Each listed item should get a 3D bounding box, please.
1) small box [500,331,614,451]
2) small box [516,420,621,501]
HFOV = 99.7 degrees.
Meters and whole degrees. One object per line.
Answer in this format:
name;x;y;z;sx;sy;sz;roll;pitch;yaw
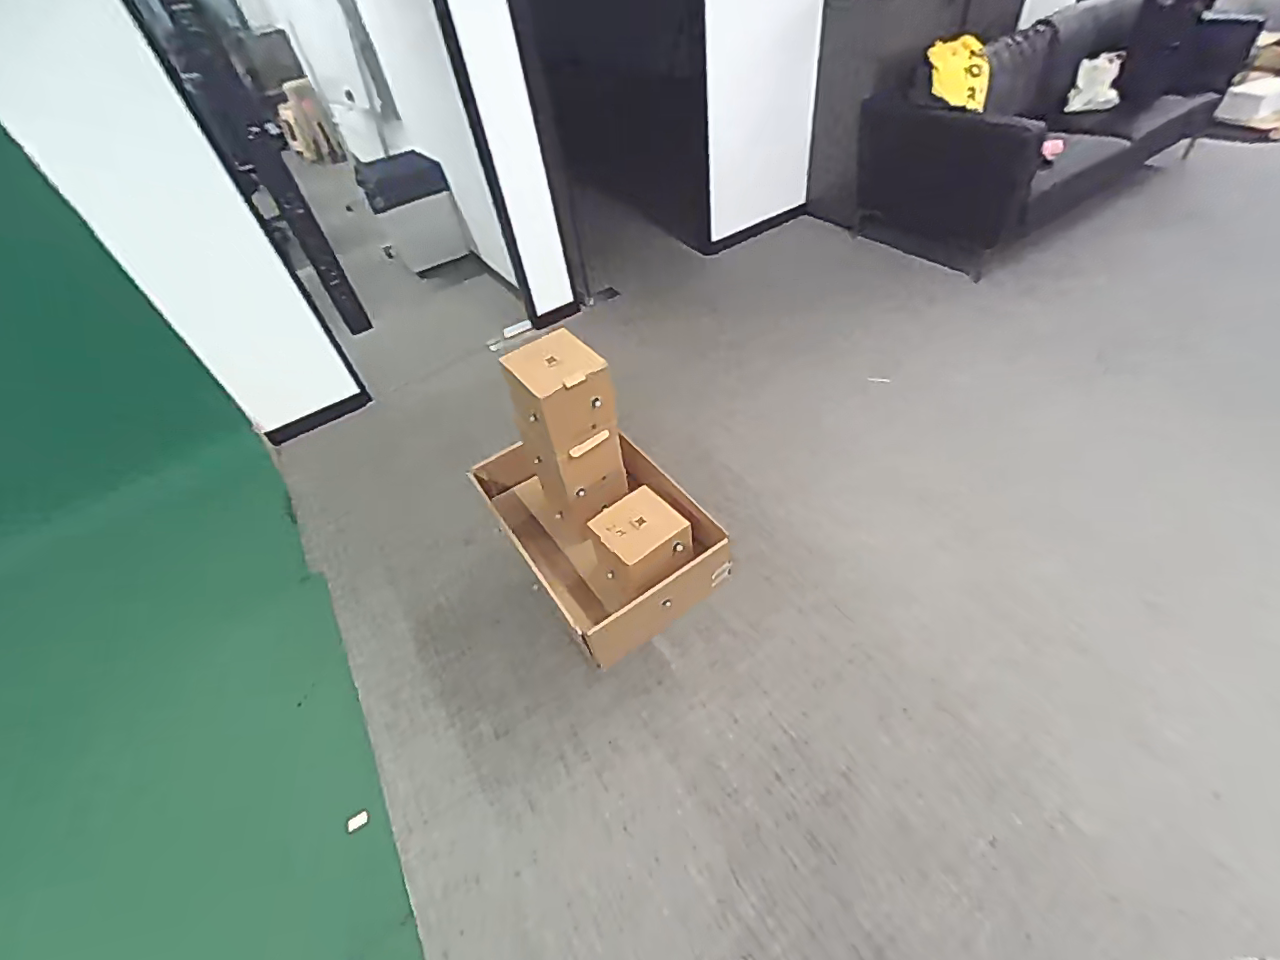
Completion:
small box;-0.171;-0.185;1.167;0.168;0.176;0.179;-32;53;-21
small box;-0.163;-0.074;1.287;0.168;0.176;0.179;-35;54;-22
